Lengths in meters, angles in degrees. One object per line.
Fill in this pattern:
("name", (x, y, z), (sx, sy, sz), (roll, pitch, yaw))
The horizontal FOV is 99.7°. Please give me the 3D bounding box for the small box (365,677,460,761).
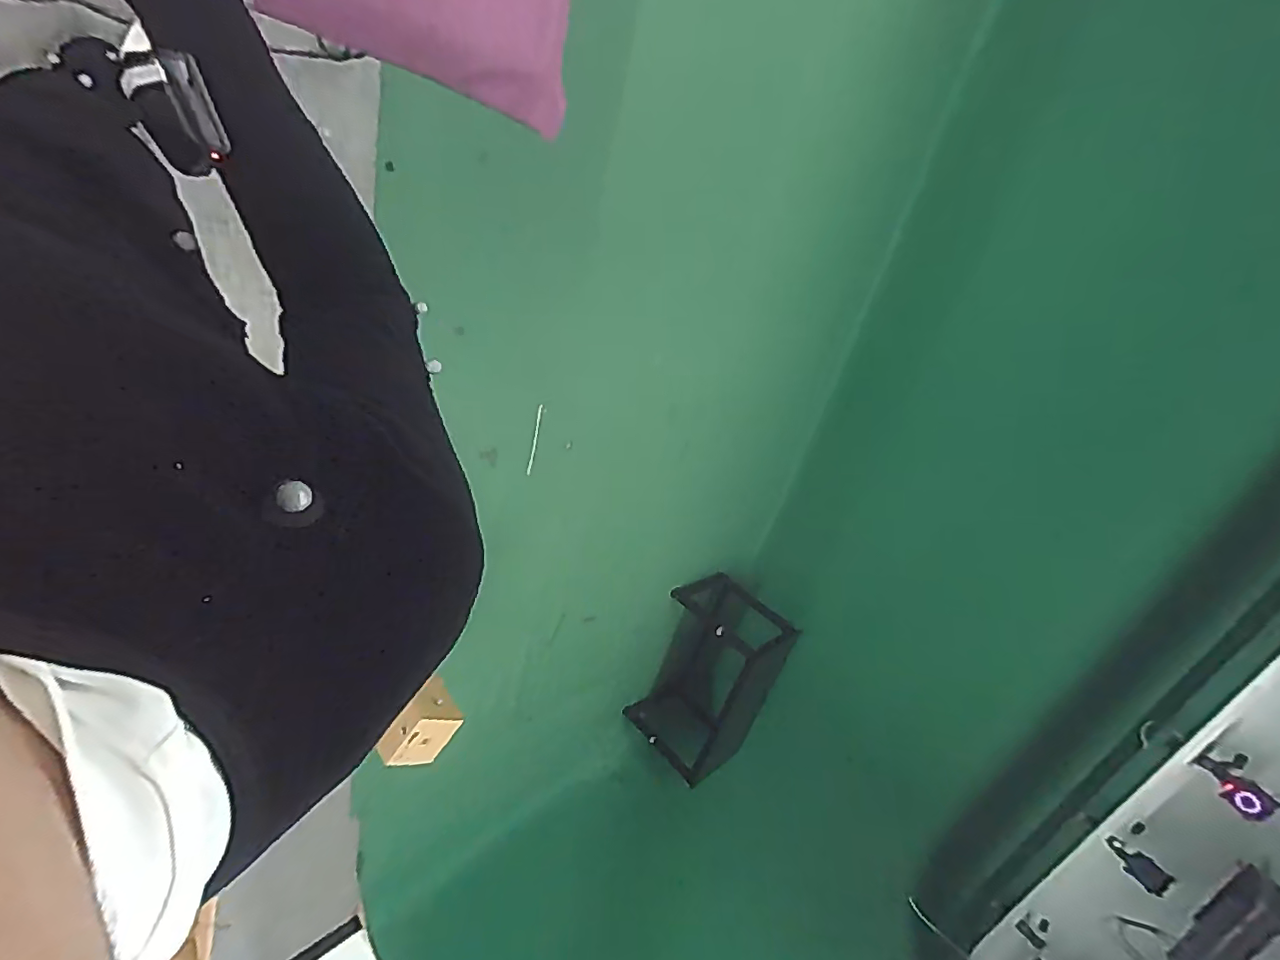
("small box", (-0.696, 0.726, 1.654), (0.168, 0.176, 0.179), (-53, 145, -2))
